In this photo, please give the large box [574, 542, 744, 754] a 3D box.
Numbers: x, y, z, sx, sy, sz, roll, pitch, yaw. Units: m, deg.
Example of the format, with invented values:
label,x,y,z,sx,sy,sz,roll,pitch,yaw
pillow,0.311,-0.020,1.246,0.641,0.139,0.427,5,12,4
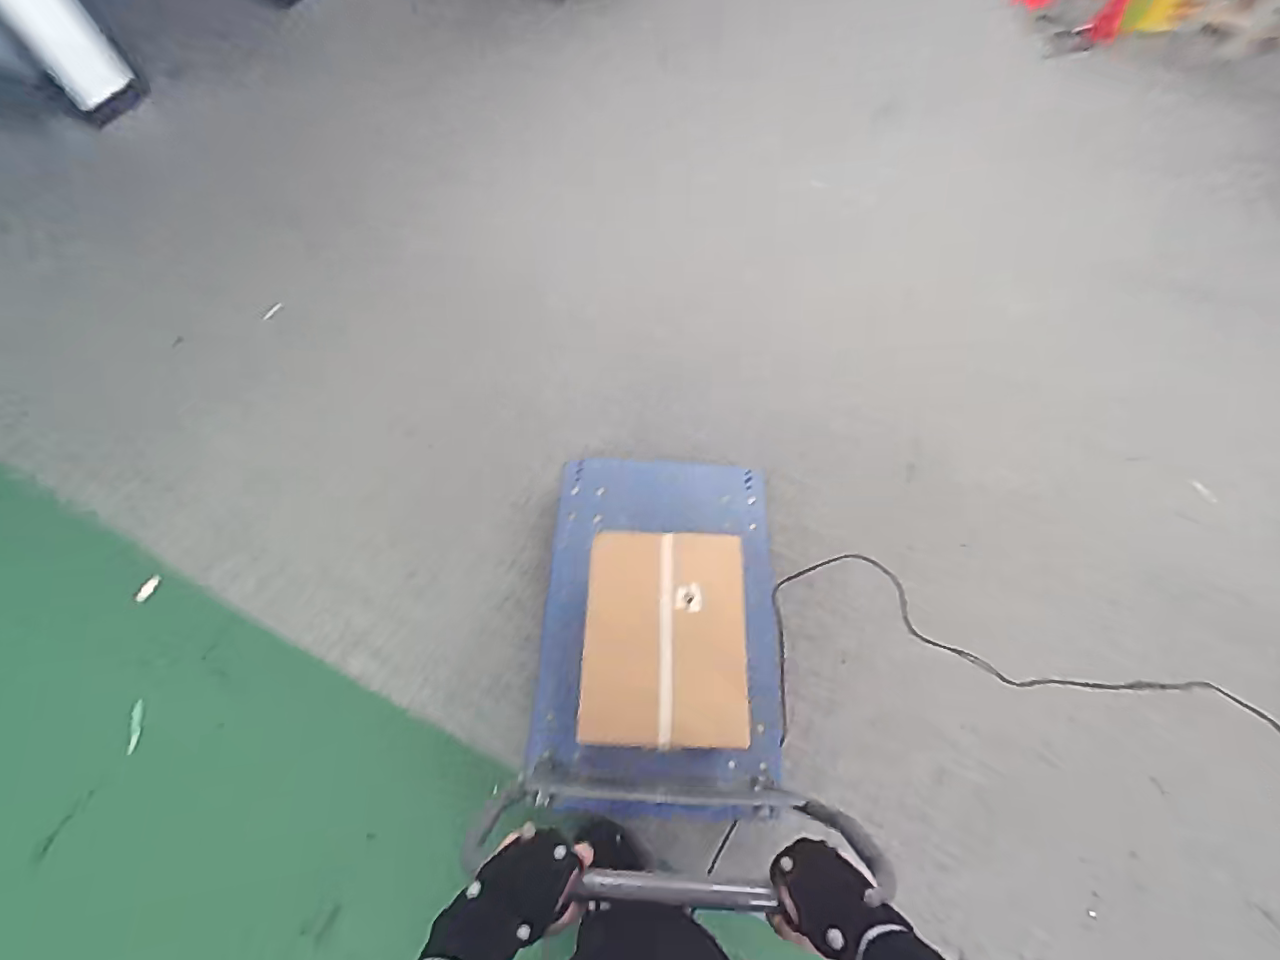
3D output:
label,x,y,z,sx,sy,sz,roll,pitch,yaw
large box,0.037,0.379,1.192,0.320,0.320,0.408,2,64,0
